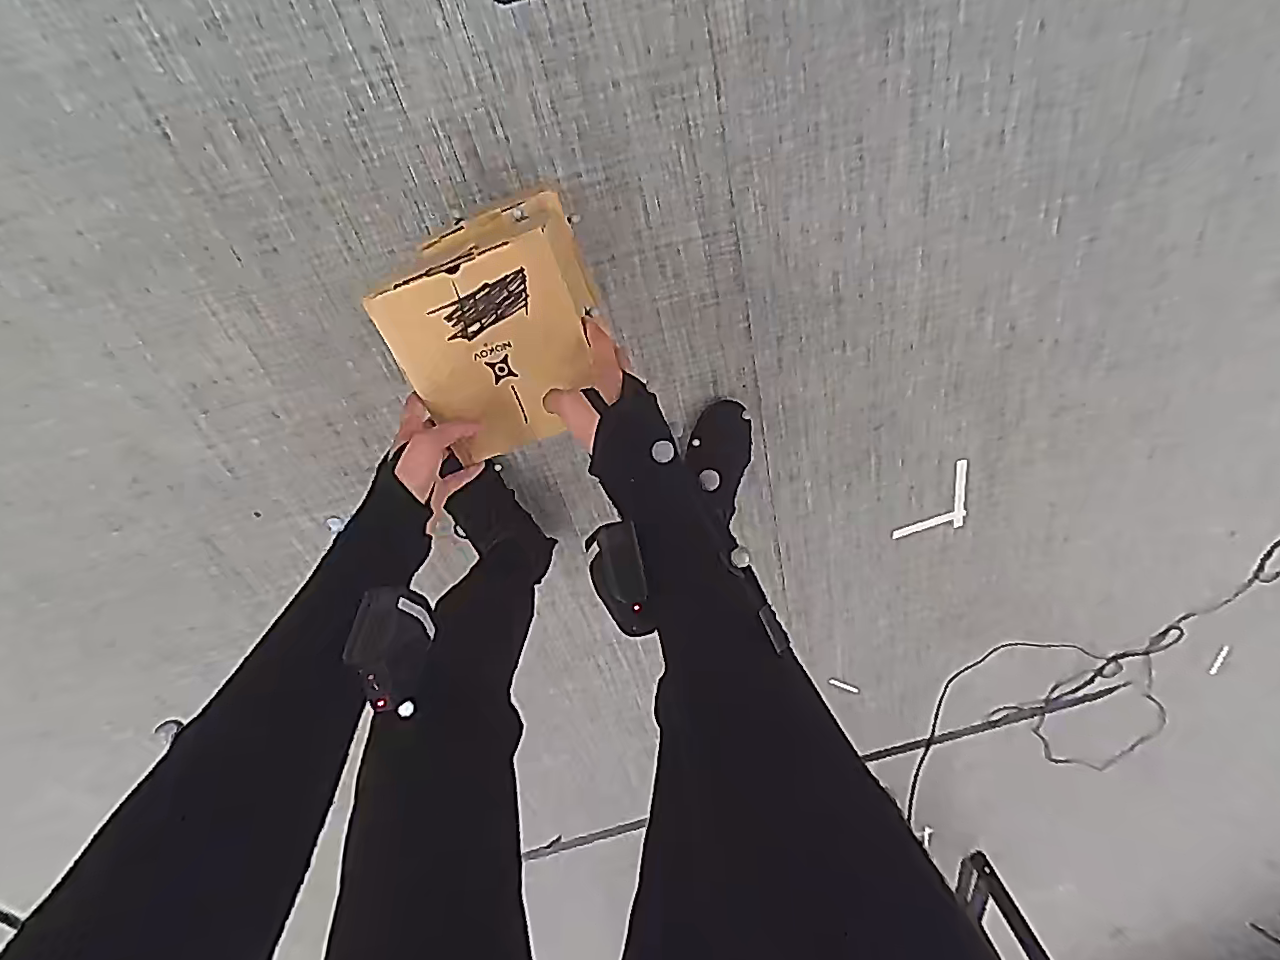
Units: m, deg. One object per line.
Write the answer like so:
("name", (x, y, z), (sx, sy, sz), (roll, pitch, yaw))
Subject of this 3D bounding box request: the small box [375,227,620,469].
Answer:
("small box", (-0.129, -0.144, 0.556), (0.168, 0.176, 0.179), (-18, 122, 6))

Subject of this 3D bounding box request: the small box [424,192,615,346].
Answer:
("small box", (-0.145, -0.249, 0.689), (0.168, 0.176, 0.179), (-20, 123, 4))
